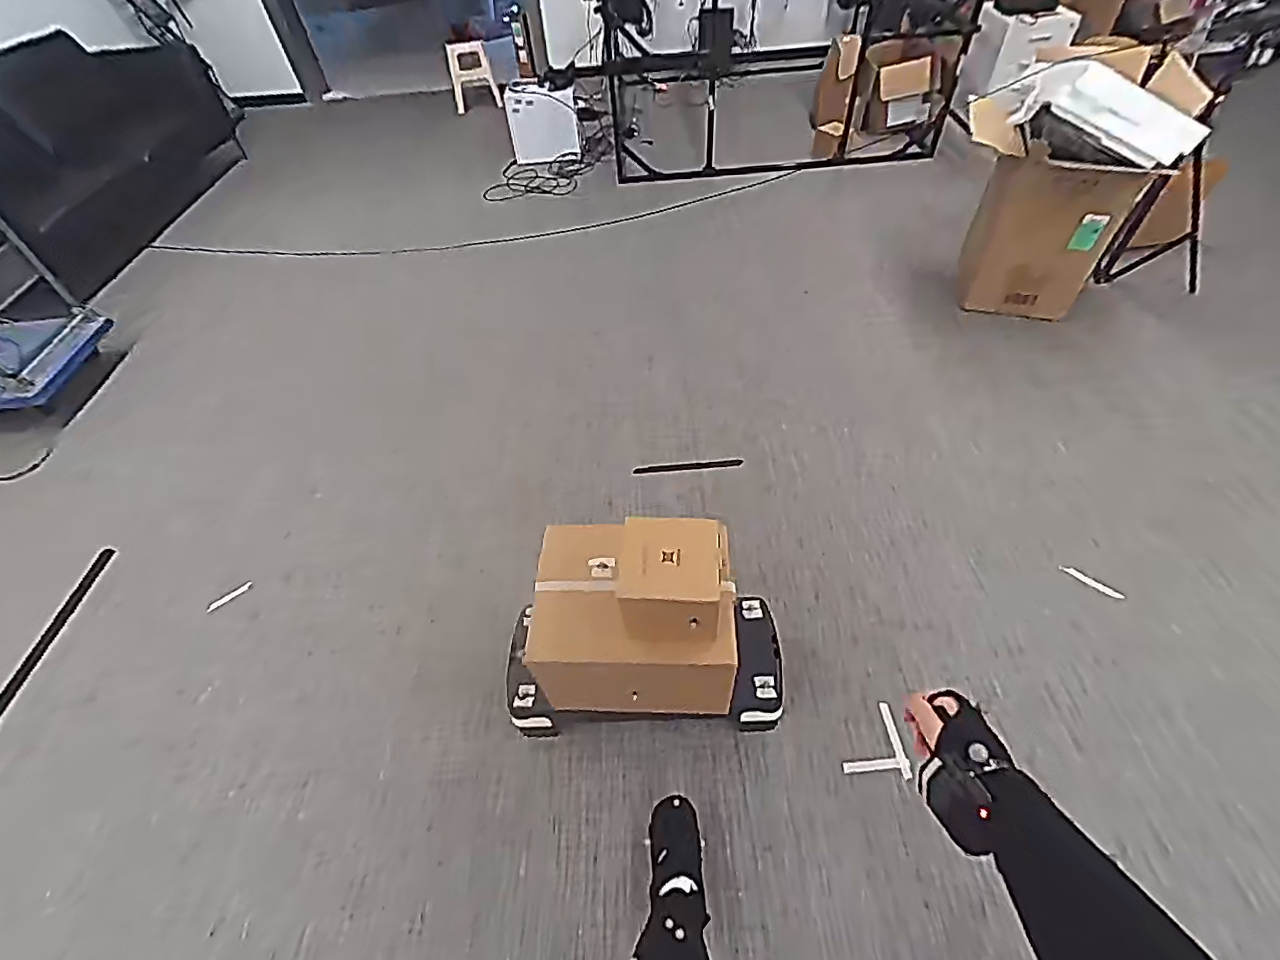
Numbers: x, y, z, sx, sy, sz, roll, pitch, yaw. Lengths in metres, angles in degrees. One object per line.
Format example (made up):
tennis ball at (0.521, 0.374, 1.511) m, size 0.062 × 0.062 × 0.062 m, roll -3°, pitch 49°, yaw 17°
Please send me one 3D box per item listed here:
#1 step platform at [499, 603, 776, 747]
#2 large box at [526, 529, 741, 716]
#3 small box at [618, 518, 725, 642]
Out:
step platform at (-0.003, 0.486, 1.378) m, size 0.684 × 0.204 × 0.286 m, roll 0°, pitch 50°, yaw 6°
large box at (0.001, 0.324, 1.201) m, size 0.408 × 0.320 × 0.320 m, roll -2°, pitch 50°, yaw 5°
small box at (0.062, 0.186, 0.990) m, size 0.179 × 0.176 × 0.168 m, roll 1°, pitch 51°, yaw 7°
